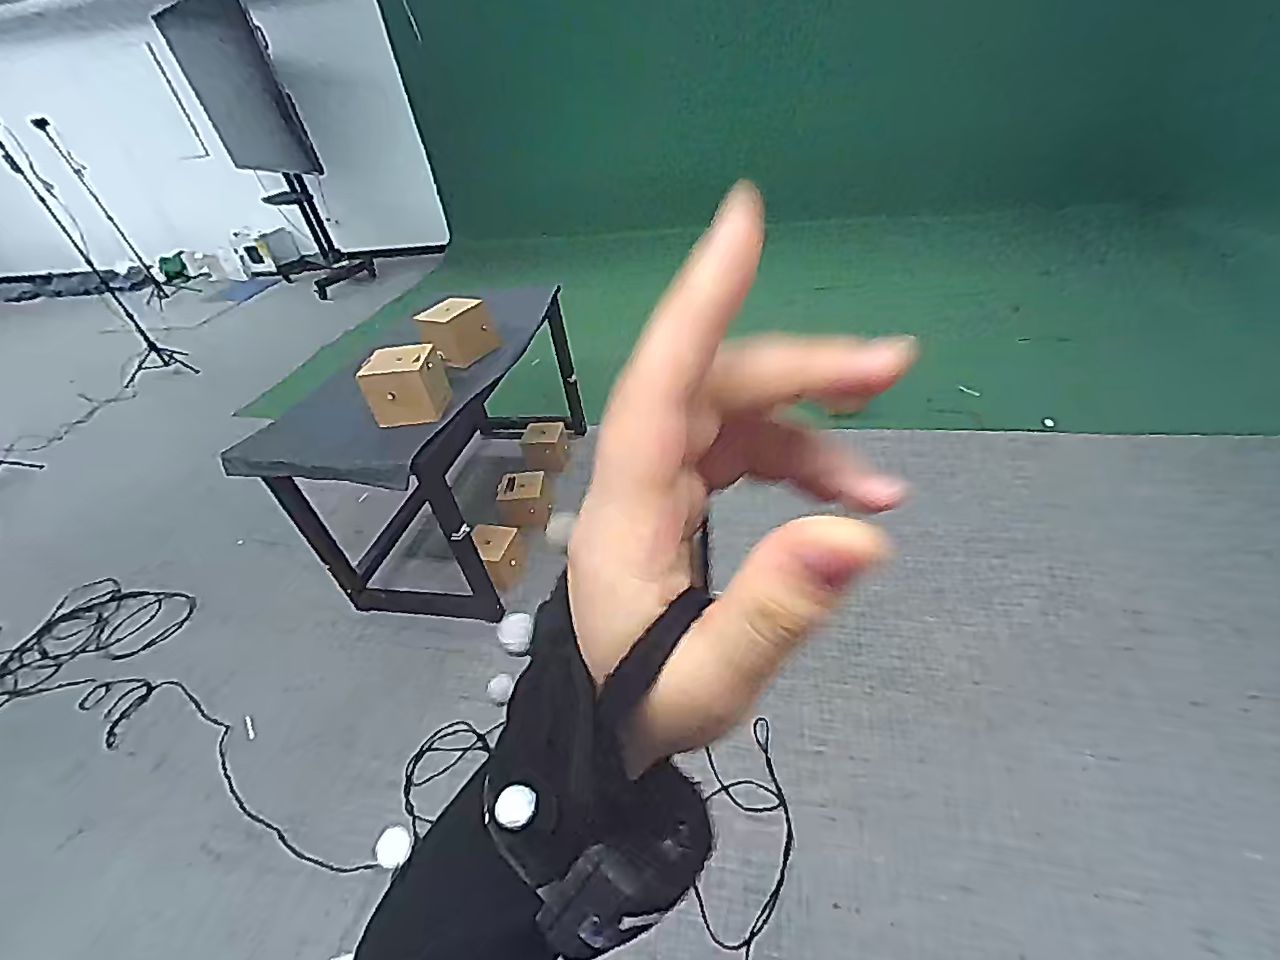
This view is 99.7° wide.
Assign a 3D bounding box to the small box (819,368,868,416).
[{"bbox_3d":[0.971,-0.419,2.597,0.179,0.176,0.168,-7,39,0],"label":"small box"}]

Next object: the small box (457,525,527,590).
[{"bbox_3d":[-0.542,0.290,2.011,0.179,0.176,0.168,5,41,16],"label":"small box"}]

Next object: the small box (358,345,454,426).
[{"bbox_3d":[-0.661,-0.267,1.551,0.179,0.176,0.168,-6,39,3],"label":"small box"}]

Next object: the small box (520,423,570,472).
[{"bbox_3d":[-0.434,-0.151,2.517,0.179,0.176,0.168,-1,39,9],"label":"small box"}]

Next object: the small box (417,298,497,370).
[{"bbox_3d":[-0.602,-0.490,1.812,0.168,0.176,0.179,14,46,29],"label":"small box"}]
